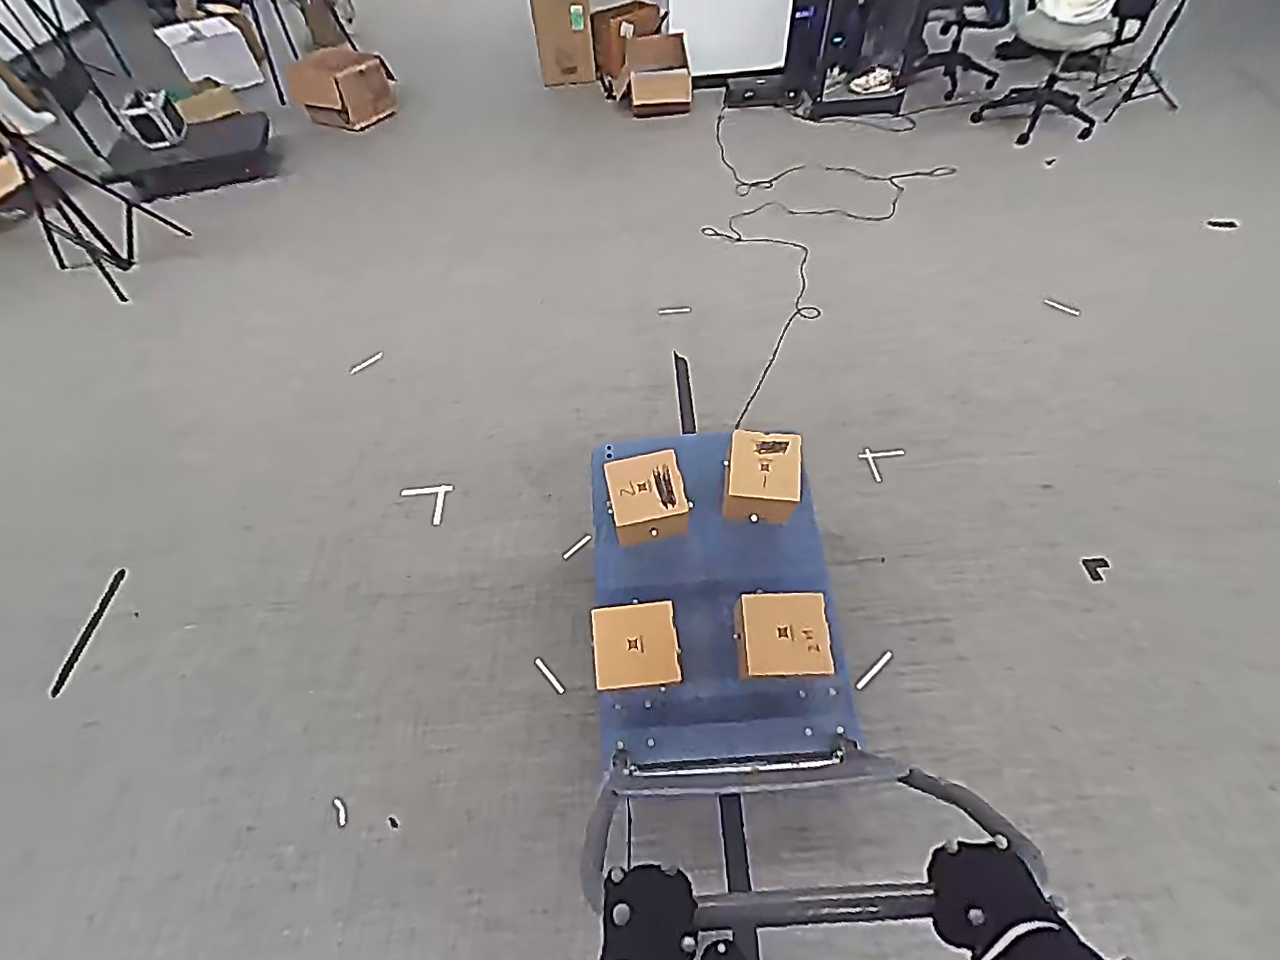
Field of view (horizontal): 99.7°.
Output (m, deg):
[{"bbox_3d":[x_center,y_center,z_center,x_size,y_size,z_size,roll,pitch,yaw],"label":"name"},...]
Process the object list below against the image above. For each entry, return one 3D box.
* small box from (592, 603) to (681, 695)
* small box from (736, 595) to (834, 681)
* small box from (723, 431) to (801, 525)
[{"bbox_3d":[-0.006,0.378,1.199,0.179,0.176,0.168,-6,66,-2],"label":"small box"},{"bbox_3d":[0.309,0.352,1.194,0.179,0.176,0.168,-2,67,2],"label":"small box"},{"bbox_3d":[0.300,-0.002,1.348,0.168,0.176,0.179,5,68,5],"label":"small box"}]
